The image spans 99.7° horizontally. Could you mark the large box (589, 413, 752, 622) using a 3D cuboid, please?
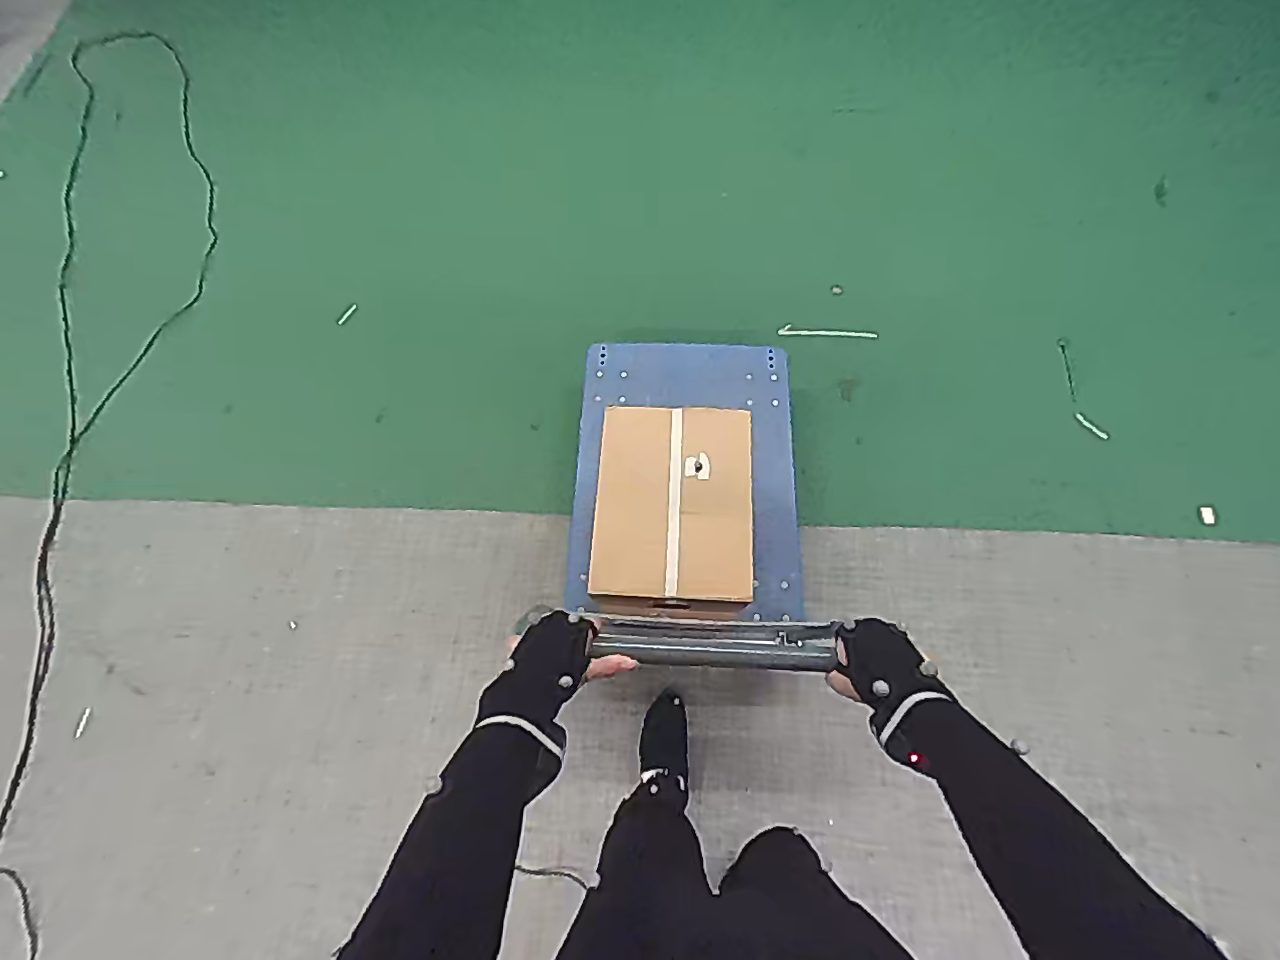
[{"bbox_3d":[0.069,0.099,1.230,0.320,0.320,0.408,2,68,2],"label":"large box"}]
